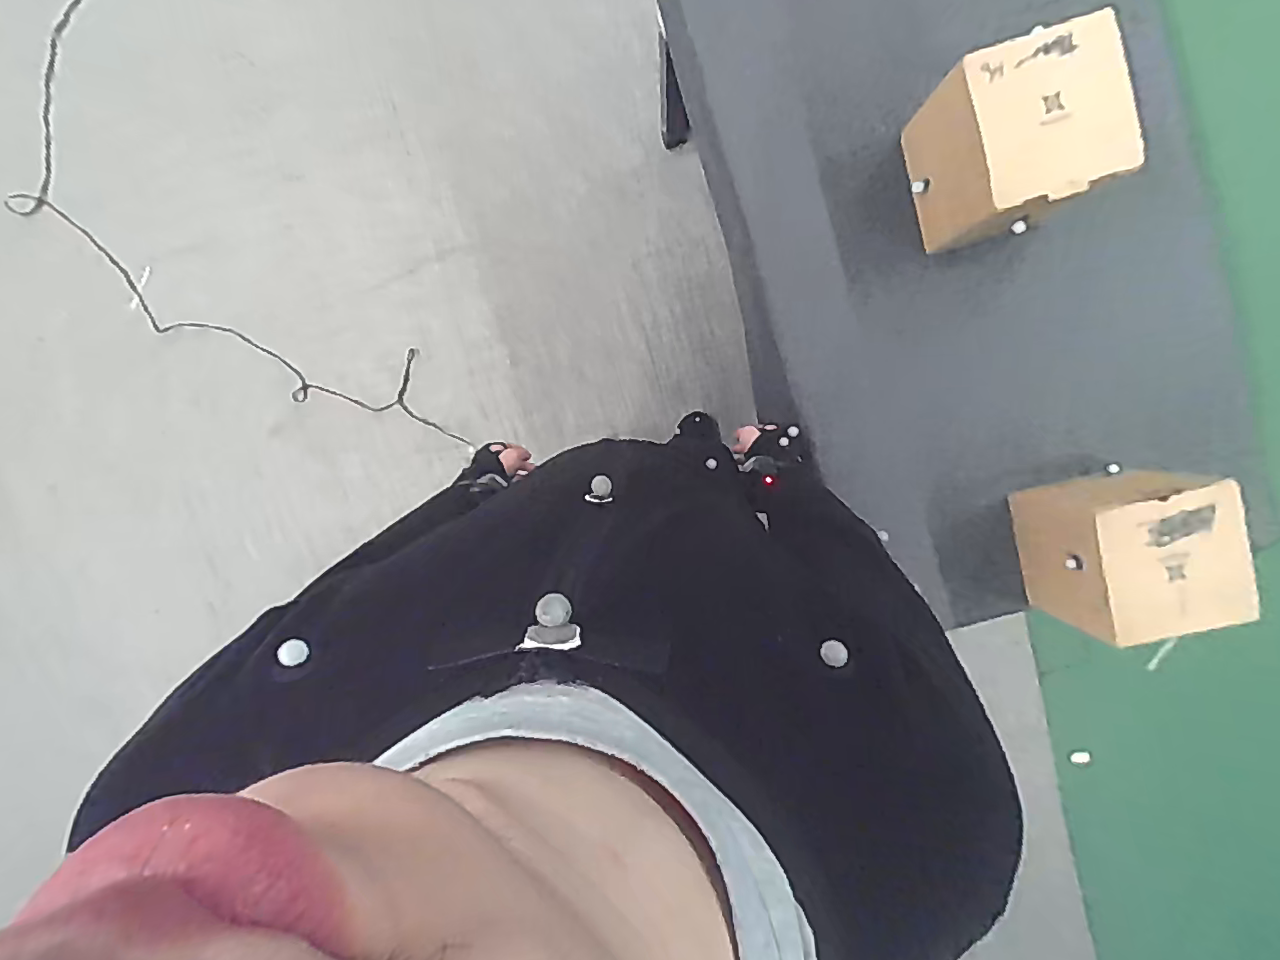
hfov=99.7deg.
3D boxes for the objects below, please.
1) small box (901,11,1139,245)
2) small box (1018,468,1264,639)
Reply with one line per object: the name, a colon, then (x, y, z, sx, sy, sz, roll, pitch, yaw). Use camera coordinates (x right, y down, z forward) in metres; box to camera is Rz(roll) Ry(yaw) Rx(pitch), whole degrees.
small box: (0.462, -0.419, 0.684, 0.168, 0.176, 0.179, -17, 95, 2)
small box: (0.650, 0.084, 0.724, 0.168, 0.176, 0.179, -15, 95, 3)
